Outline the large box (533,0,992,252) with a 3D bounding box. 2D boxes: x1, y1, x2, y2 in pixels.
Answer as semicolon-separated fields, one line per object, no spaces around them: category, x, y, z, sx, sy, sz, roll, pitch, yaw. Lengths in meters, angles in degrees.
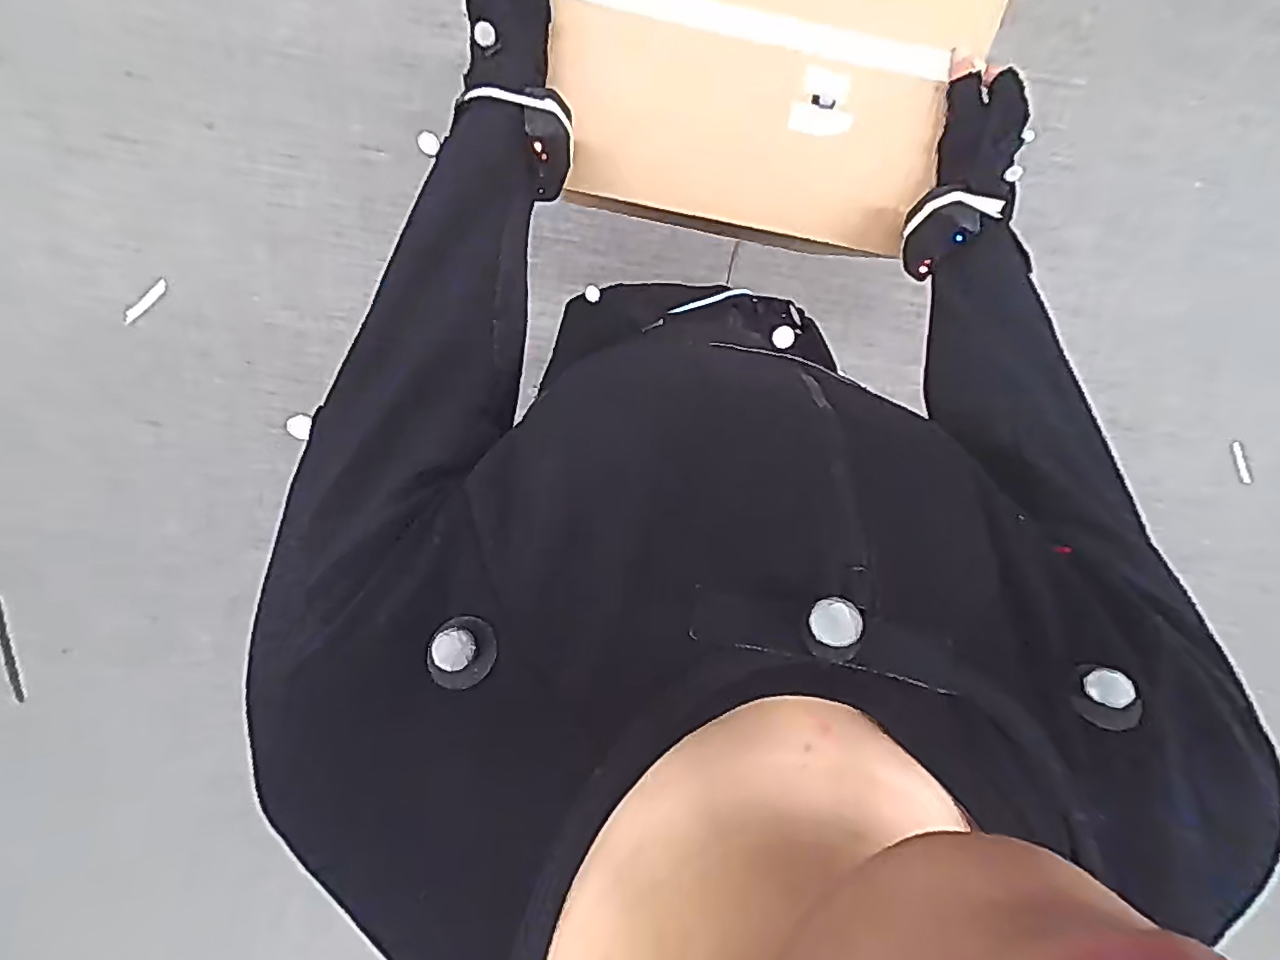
large box;0.106;-0.467;0.632;0.408;0.320;0.320;9;114;-6
